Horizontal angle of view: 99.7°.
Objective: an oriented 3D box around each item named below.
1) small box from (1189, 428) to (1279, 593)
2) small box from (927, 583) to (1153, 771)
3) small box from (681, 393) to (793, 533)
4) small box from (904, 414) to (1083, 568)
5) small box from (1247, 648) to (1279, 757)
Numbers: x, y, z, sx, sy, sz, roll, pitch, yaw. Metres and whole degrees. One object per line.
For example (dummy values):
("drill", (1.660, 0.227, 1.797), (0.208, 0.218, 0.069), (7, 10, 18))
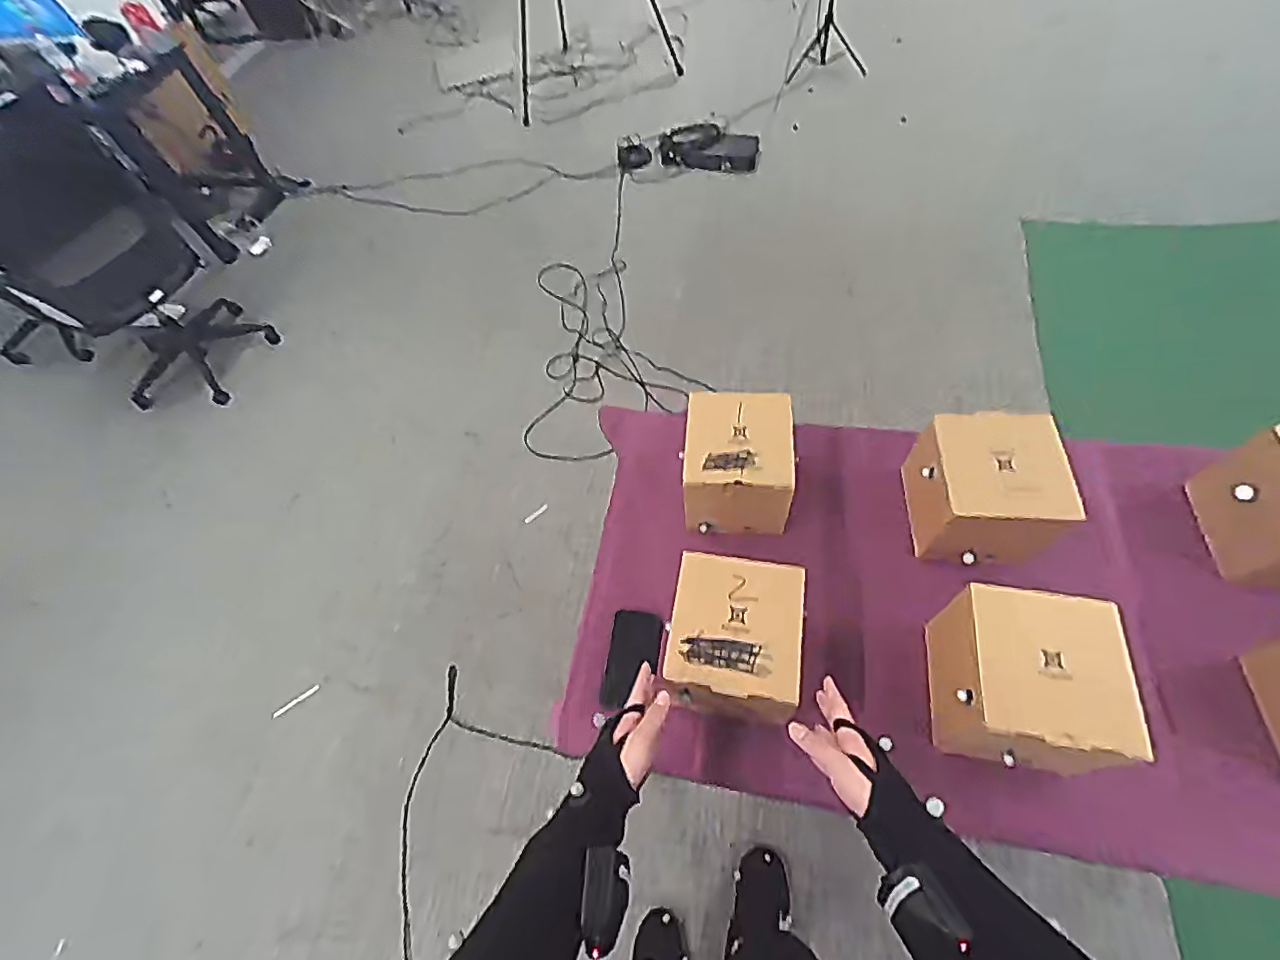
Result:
("small box", (0.944, 0.049, 0.758), (0.168, 0.176, 0.179), (4, 59, 10))
("small box", (0.484, 0.255, 0.691), (0.168, 0.176, 0.179), (7, 60, 11))
("small box", (0.161, -0.024, 0.902), (0.168, 0.176, 0.179), (3, 59, 8))
("small box", (0.523, 0.019, 0.832), (0.168, 0.176, 0.179), (2, 60, 10))
("small box", (0.884, 0.279, 0.622), (0.168, 0.176, 0.179), (4, 58, 11))
